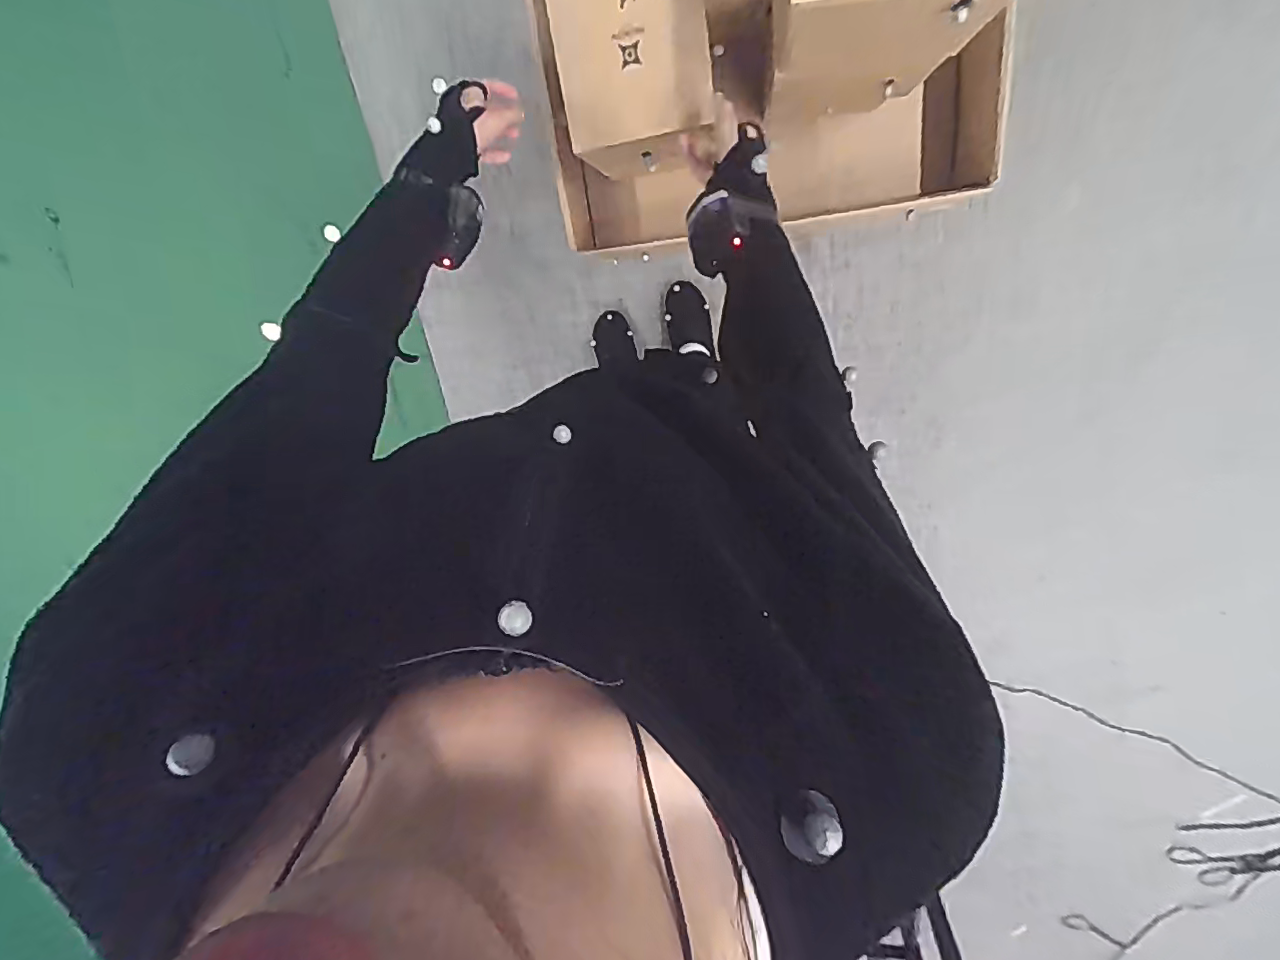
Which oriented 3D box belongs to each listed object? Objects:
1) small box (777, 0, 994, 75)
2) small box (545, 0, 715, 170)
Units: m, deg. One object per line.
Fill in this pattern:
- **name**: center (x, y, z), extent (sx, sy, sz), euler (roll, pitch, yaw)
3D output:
- **small box**: center (0.208, -0.465, 0.448), extent (0.179, 0.176, 0.168), euler (1, 112, 10)
- **small box**: center (0.000, -0.486, 0.648), extent (0.168, 0.176, 0.179), euler (-5, 112, 11)
